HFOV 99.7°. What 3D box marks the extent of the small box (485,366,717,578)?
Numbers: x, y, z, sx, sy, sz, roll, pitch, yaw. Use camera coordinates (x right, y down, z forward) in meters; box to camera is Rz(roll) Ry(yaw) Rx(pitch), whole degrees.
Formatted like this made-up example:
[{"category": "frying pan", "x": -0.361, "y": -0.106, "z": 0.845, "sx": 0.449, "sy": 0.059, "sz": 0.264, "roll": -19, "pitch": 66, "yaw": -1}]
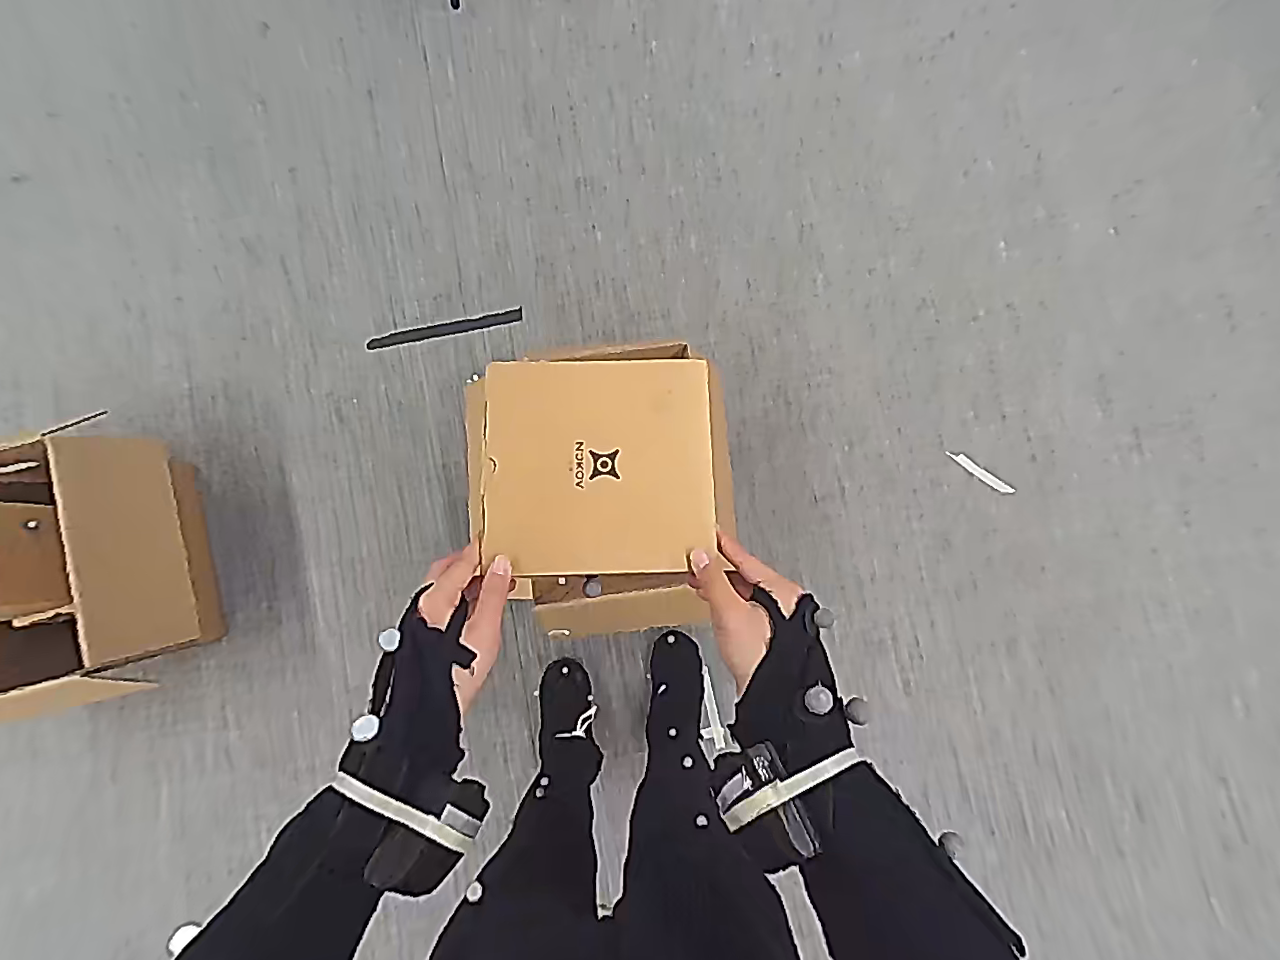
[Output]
[{"category": "small box", "x": -0.032, "y": 0.004, "z": 0.494, "sx": 0.179, "sy": 0.176, "sz": 0.168, "roll": -2, "pitch": 79, "yaw": -1}]
